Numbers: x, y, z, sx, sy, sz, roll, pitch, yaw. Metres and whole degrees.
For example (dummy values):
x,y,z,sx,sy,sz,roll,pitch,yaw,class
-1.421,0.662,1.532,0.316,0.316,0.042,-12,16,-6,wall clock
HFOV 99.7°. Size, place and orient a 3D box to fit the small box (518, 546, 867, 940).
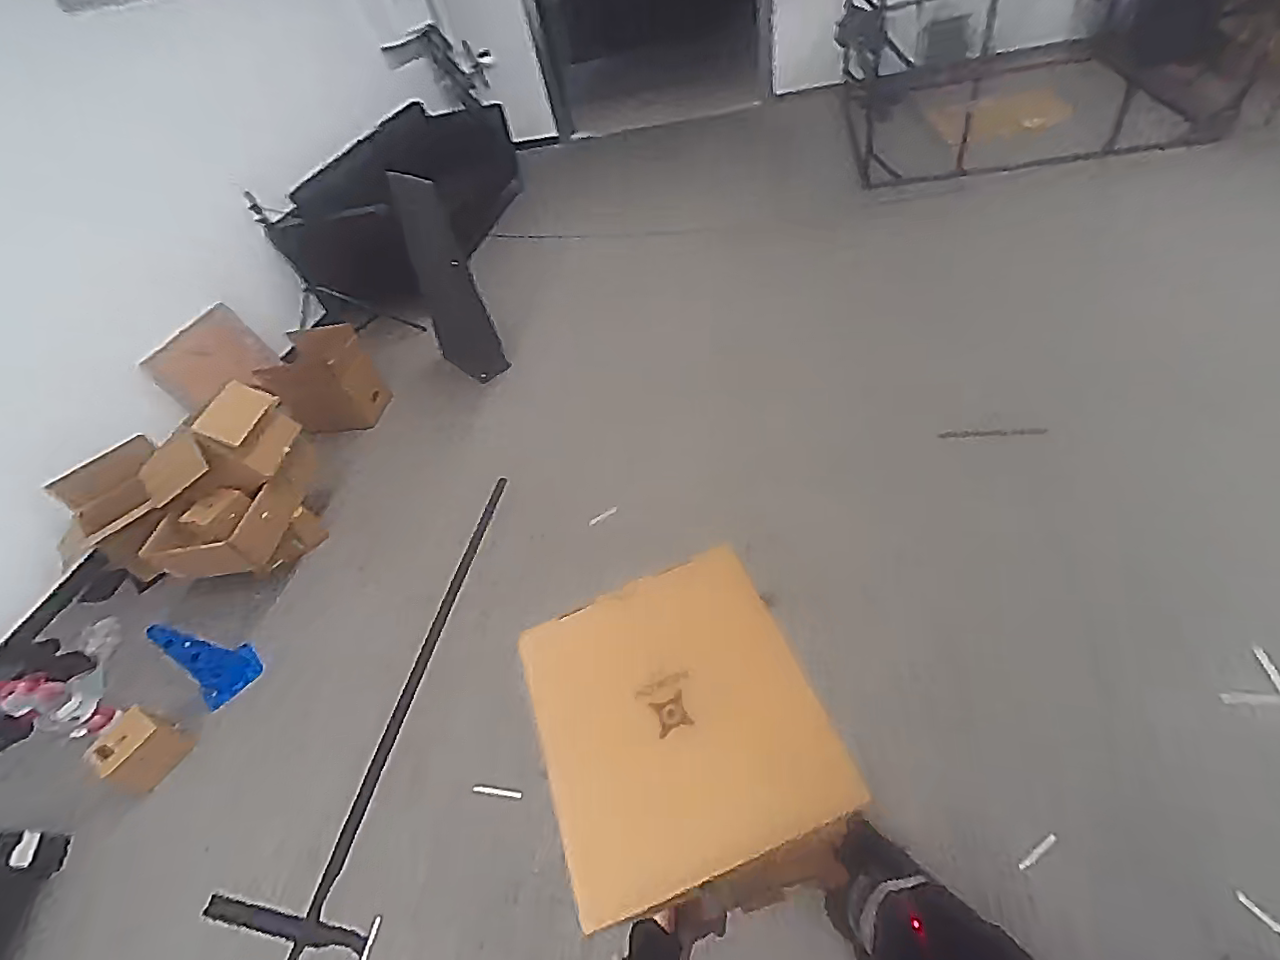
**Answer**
x,y,z,sx,sy,sz,roll,pitch,yaw,class
0.035,0.184,0.390,0.168,0.176,0.179,-24,51,-3,small box
